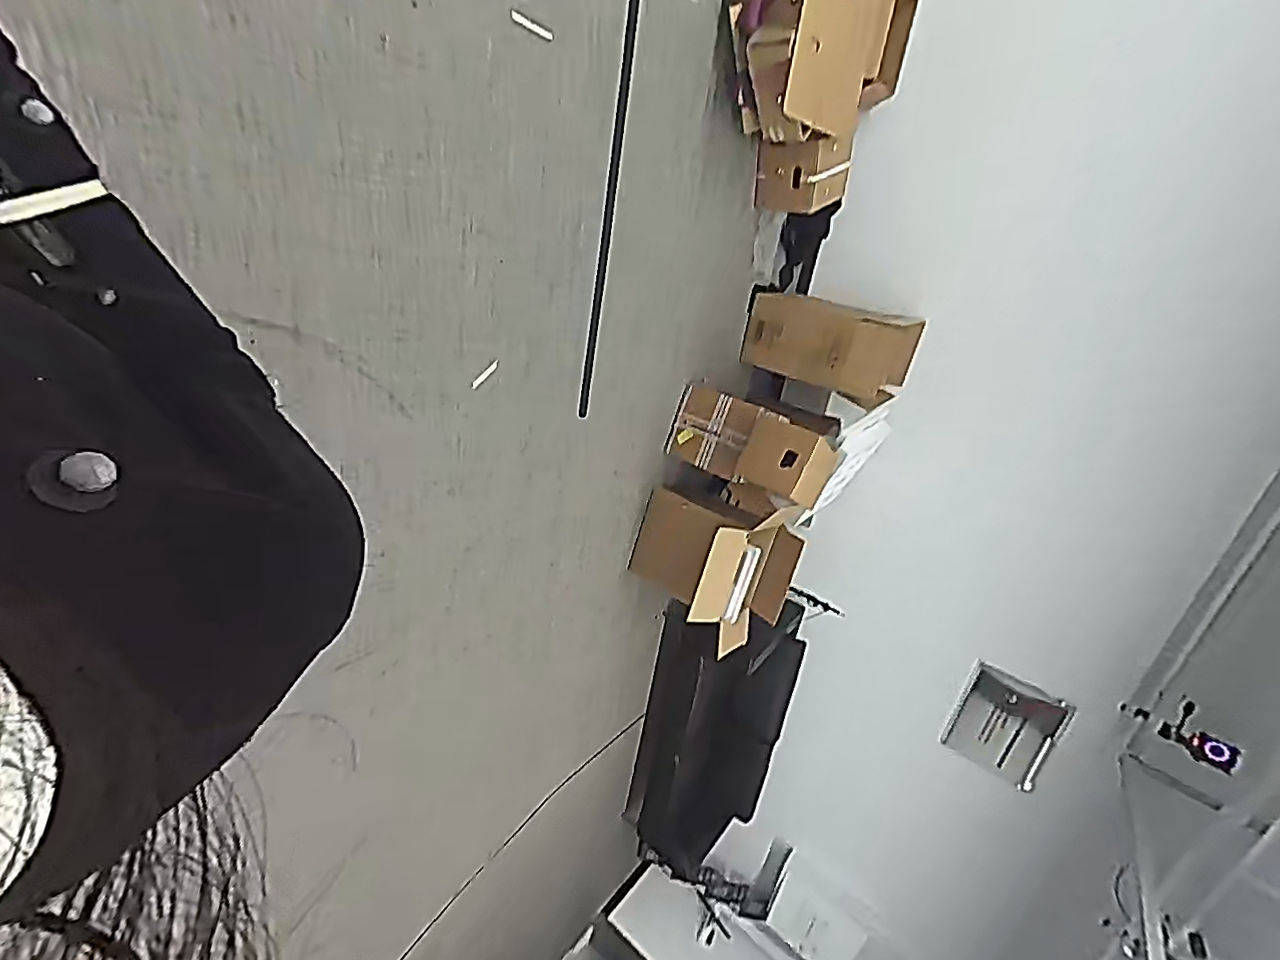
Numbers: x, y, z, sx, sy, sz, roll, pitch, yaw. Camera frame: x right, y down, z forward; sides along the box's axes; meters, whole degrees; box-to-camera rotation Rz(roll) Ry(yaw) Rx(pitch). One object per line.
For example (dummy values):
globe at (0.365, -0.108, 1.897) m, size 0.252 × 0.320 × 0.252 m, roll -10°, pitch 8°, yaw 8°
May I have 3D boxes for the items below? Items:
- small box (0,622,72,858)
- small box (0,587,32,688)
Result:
small box at (-0.652, 0.244, 0.475) m, size 0.168 × 0.176 × 0.179 m, roll -18°, pitch 126°, yaw -50°
small box at (-0.777, 0.189, 0.563) m, size 0.168 × 0.176 × 0.179 m, roll -20°, pitch 126°, yaw -50°
